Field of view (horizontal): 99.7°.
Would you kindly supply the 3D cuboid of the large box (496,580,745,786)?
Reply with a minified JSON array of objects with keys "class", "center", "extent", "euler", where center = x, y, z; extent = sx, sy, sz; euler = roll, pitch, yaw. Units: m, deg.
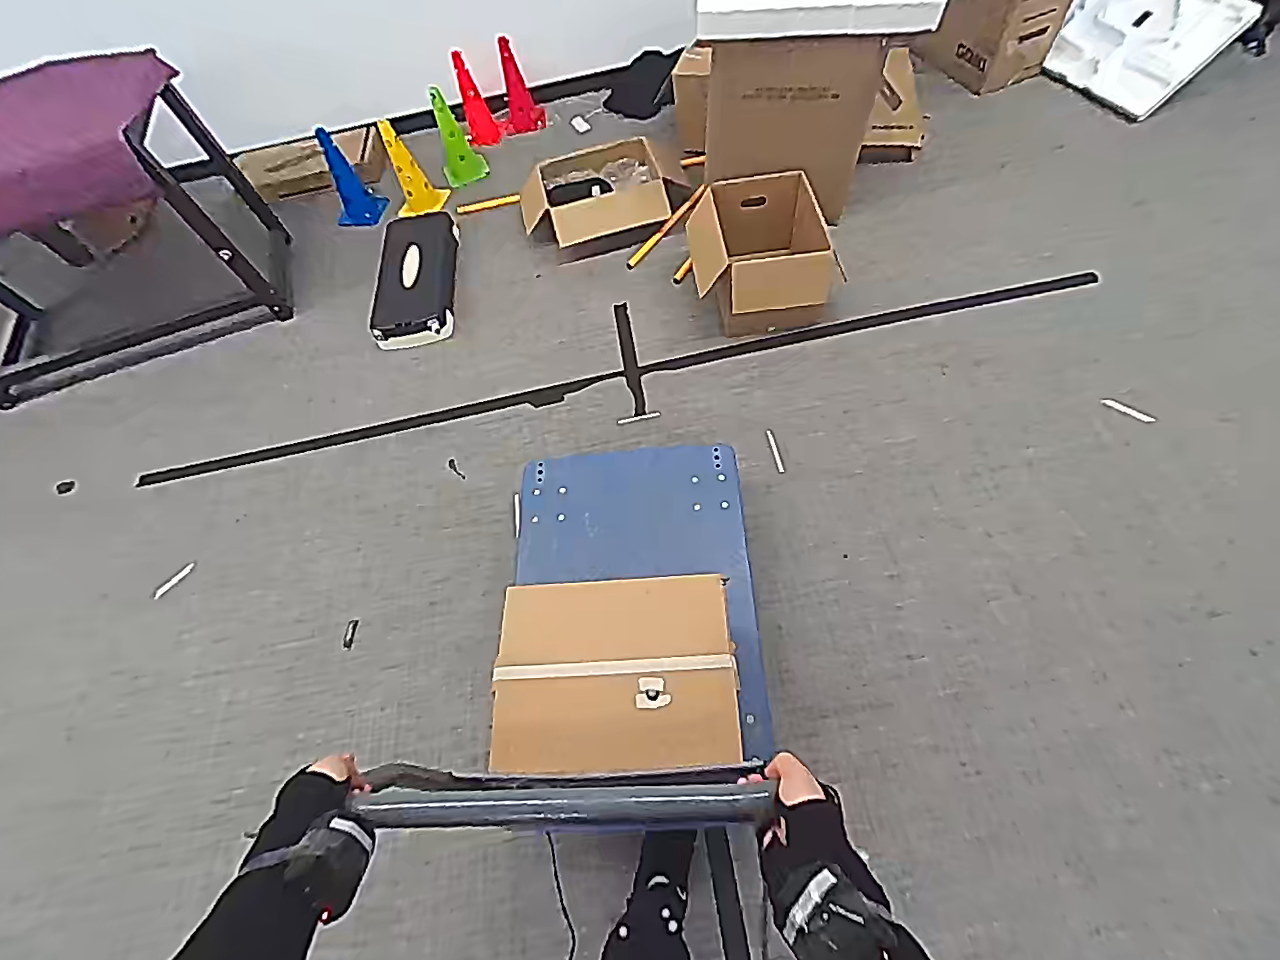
[{"class":"large box","center":[-0.026,0.405,1.049],"extent":[0.408,0.320,0.320],"euler":[-4,60,4]}]
